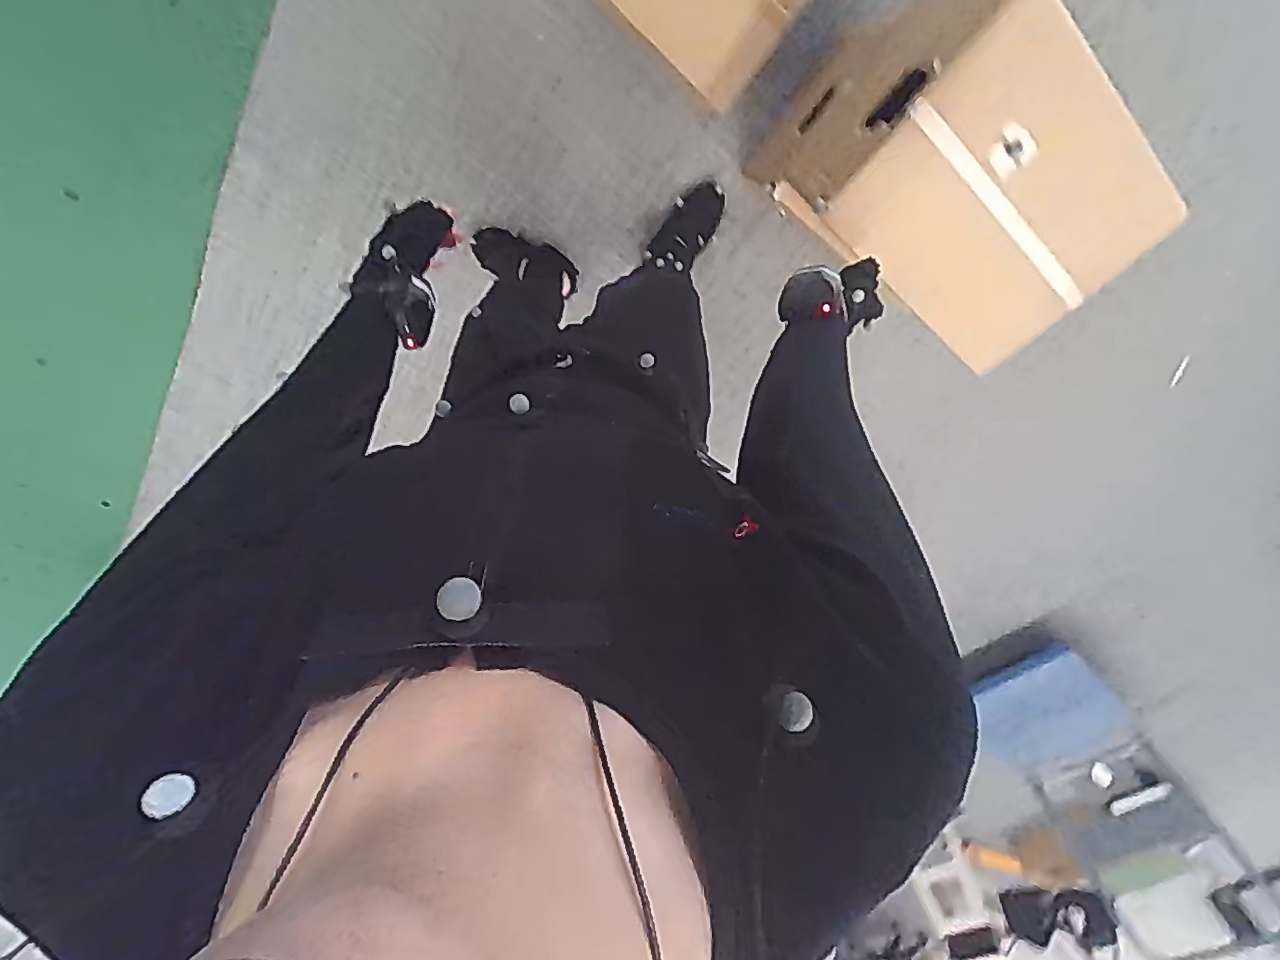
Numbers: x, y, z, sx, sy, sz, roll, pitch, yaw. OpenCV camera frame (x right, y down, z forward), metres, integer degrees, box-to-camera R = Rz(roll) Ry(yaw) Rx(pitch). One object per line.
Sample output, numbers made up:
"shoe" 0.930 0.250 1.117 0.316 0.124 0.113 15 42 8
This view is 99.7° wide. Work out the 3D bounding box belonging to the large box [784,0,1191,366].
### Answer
"large box" 0.495 -0.461 0.844 0.408 0.320 0.320 32 123 -21
